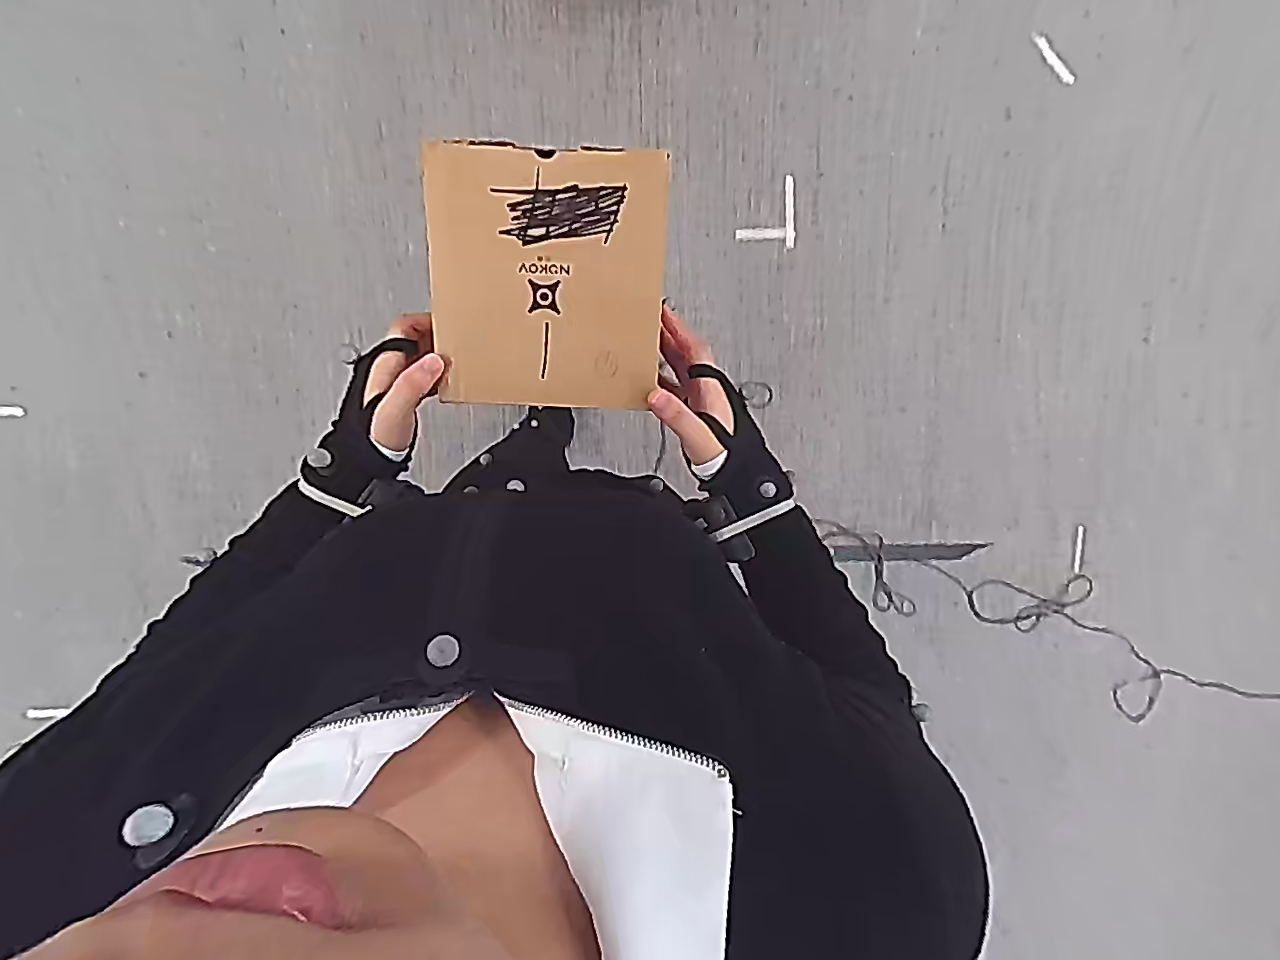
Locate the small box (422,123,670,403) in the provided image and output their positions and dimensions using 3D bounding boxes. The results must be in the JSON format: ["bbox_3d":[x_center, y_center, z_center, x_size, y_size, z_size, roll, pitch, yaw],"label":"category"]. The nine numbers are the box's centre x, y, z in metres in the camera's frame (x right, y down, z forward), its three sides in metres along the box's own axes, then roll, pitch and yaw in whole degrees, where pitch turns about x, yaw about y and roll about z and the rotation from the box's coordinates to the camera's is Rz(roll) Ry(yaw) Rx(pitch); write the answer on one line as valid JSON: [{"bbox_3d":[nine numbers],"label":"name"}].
[{"bbox_3d":[-0.067,-0.166,0.453,0.168,0.176,0.179,3,106,-1],"label":"small box"}]
